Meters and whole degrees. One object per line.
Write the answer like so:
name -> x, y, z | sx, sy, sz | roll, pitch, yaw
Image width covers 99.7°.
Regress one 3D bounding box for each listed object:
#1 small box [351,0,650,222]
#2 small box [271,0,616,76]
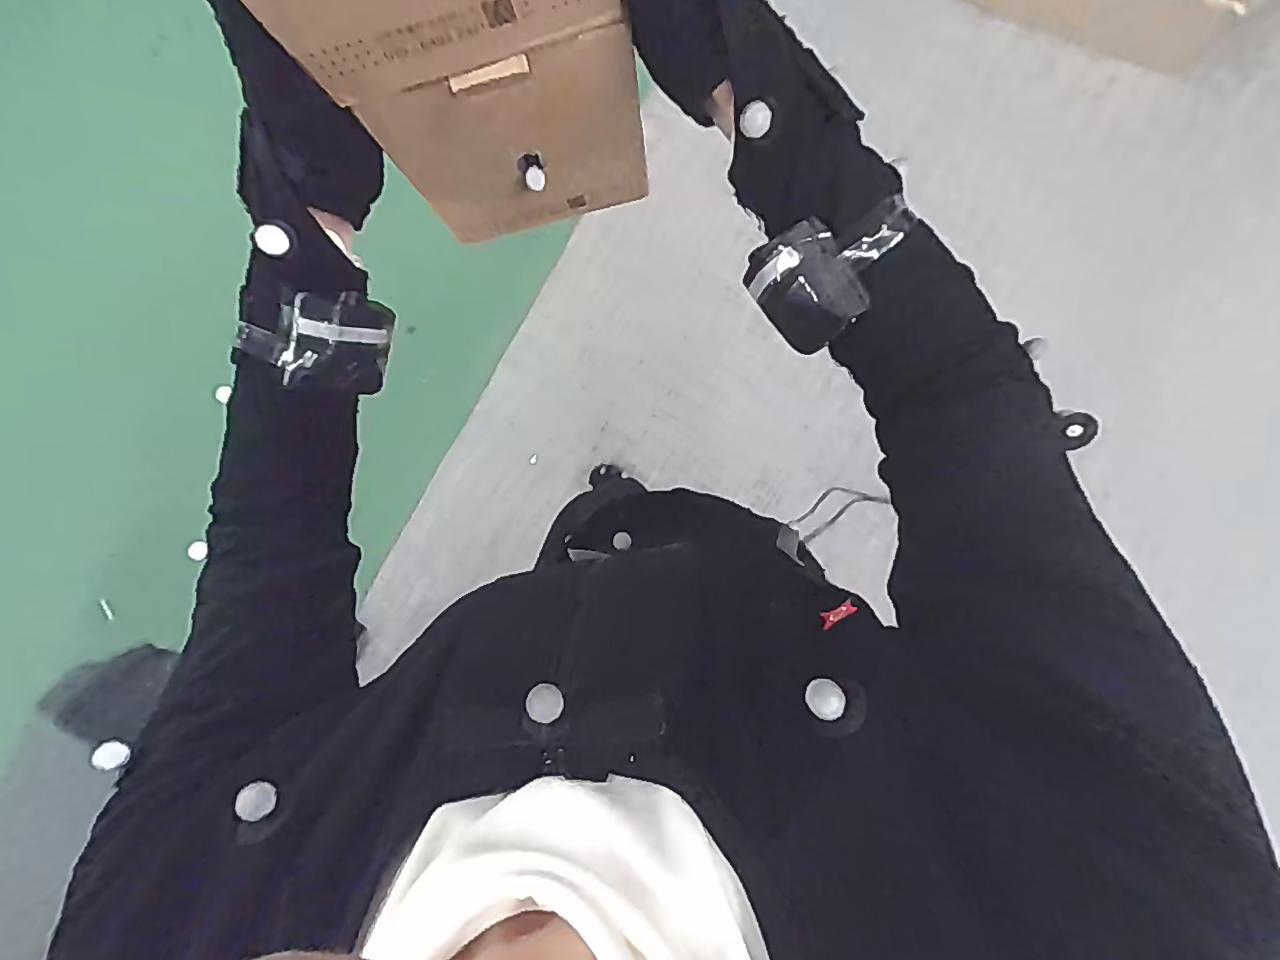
small box -> -0.091, -0.310, 0.386 | 0.168, 0.176, 0.179 | -12, 88, 4
small box -> -0.111, -0.314, 0.224 | 0.168, 0.176, 0.179 | -13, 86, 3
